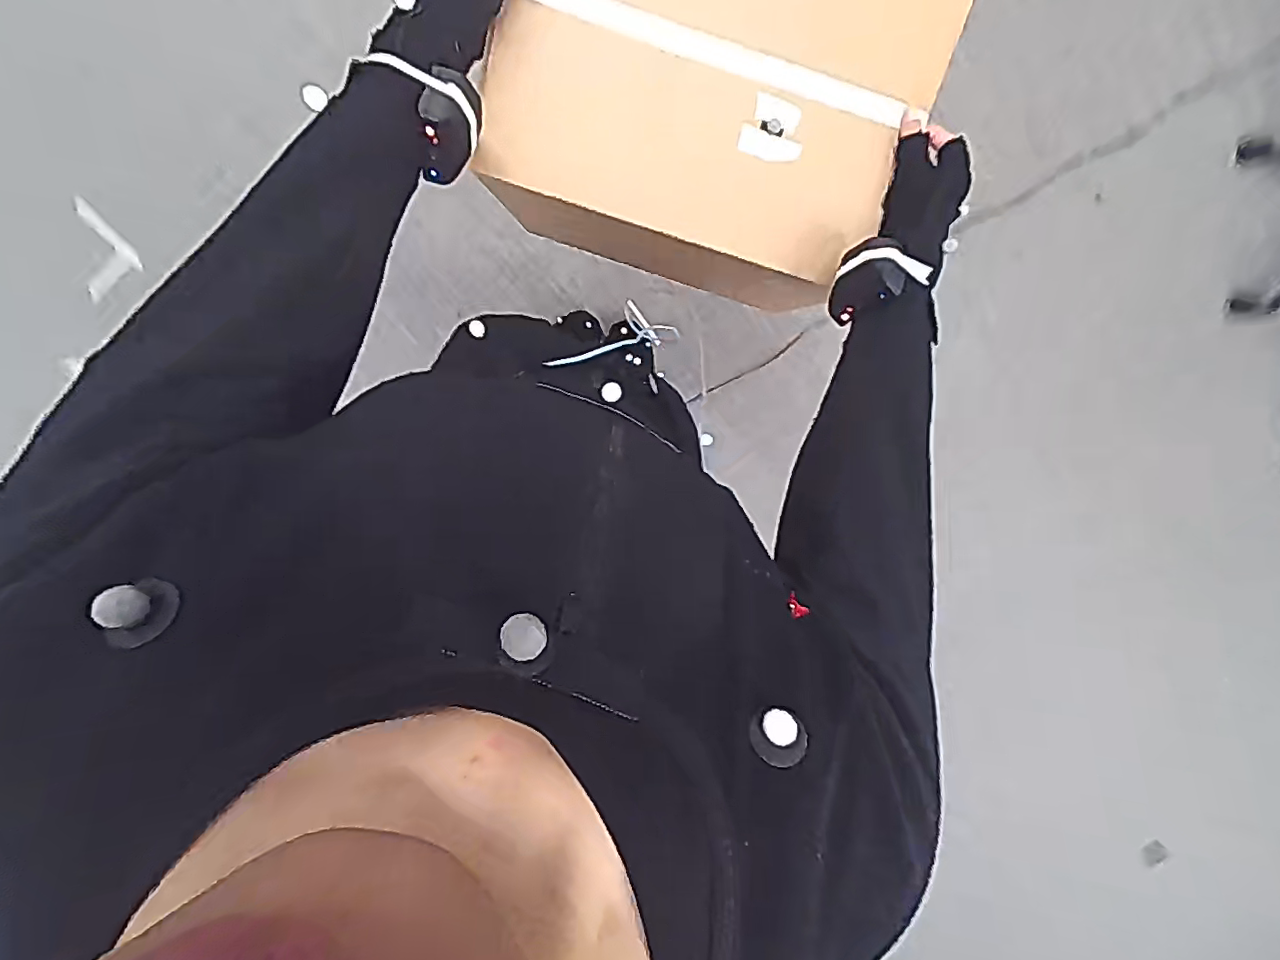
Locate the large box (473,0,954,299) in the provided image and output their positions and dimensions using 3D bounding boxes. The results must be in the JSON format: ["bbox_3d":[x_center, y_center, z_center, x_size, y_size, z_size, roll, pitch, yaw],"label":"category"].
[{"bbox_3d":[0.063,-0.430,0.640,0.408,0.320,0.320,15,105,-5],"label":"large box"}]
